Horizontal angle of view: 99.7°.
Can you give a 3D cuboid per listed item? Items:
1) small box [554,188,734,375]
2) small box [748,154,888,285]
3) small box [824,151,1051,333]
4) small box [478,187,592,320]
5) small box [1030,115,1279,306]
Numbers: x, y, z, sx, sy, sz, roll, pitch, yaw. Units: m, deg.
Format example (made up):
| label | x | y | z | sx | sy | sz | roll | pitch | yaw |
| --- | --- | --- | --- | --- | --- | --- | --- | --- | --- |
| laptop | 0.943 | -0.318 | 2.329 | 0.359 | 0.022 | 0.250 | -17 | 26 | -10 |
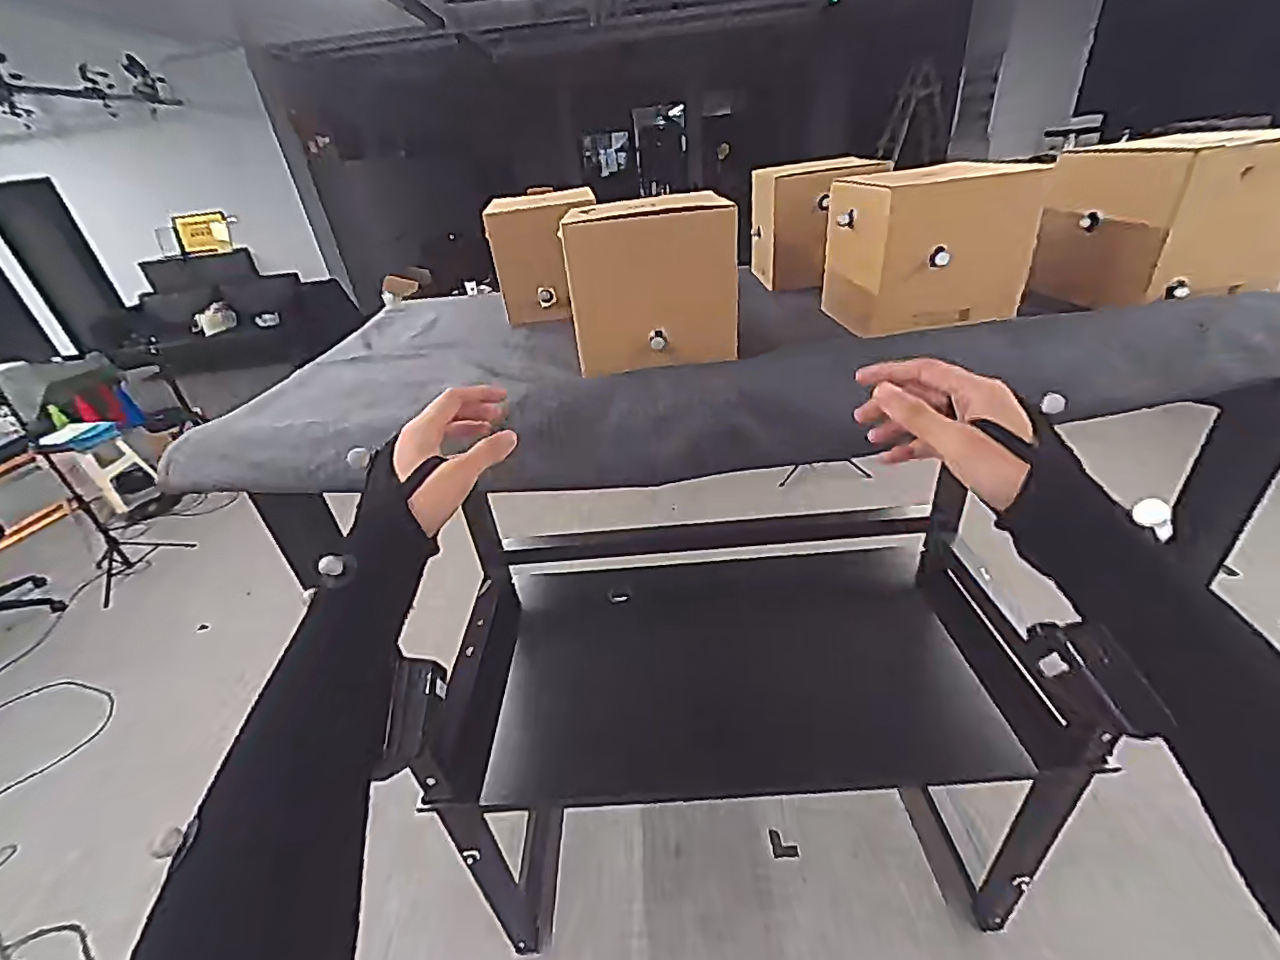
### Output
| label | x | y | z | sx | sy | sz | roll | pitch | yaw |
| --- | --- | --- | --- | --- | --- | --- | --- | --- | --- |
| small box | 0.008 | -0.232 | 0.625 | 0.179 | 0.176 | 0.168 | -5 | 30 | 1 |
| small box | 0.279 | -0.425 | 0.884 | 0.179 | 0.176 | 0.168 | -6 | 32 | 2 |
| small box | 0.328 | -0.279 | 0.640 | 0.168 | 0.176 | 0.179 | -7 | 31 | 1 |
| small box | -0.151 | -0.370 | 0.882 | 0.168 | 0.176 | 0.179 | -10 | 32 | -3 |
| small box | 0.601 | -0.306 | 0.622 | 0.168 | 0.176 | 0.179 | -9 | 30 | -2 |
